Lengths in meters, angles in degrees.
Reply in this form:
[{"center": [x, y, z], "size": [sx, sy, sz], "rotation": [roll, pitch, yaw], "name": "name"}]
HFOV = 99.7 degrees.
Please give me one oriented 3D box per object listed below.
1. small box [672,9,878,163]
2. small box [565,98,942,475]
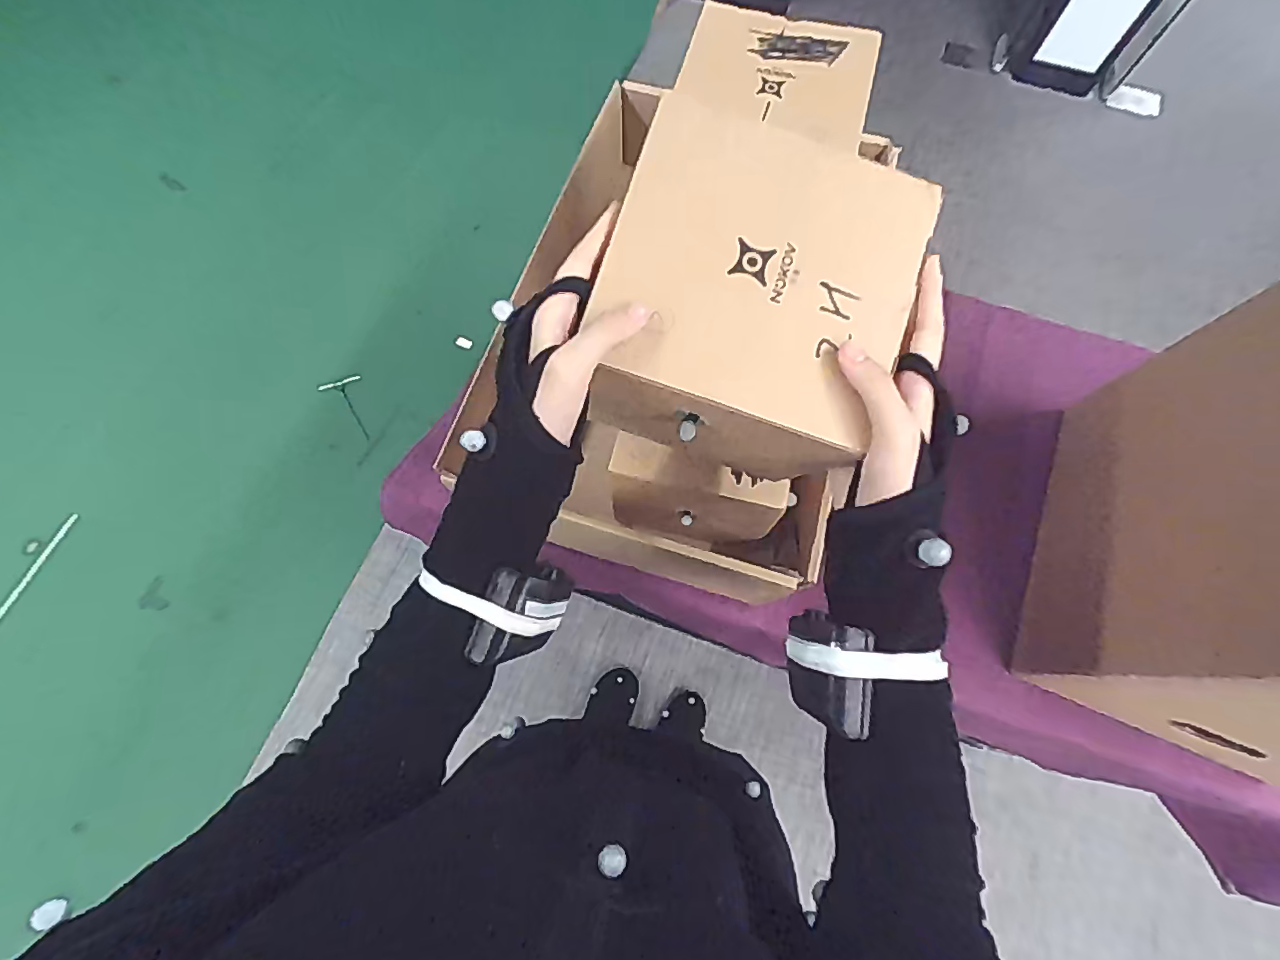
[{"center": [0.115, -0.313, 0.546], "size": [0.168, 0.176, 0.179], "rotation": [15, 73, 6], "name": "small box"}, {"center": [0.062, -0.107, 0.379], "size": [0.179, 0.176, 0.168], "rotation": [19, 85, -2], "name": "small box"}]
